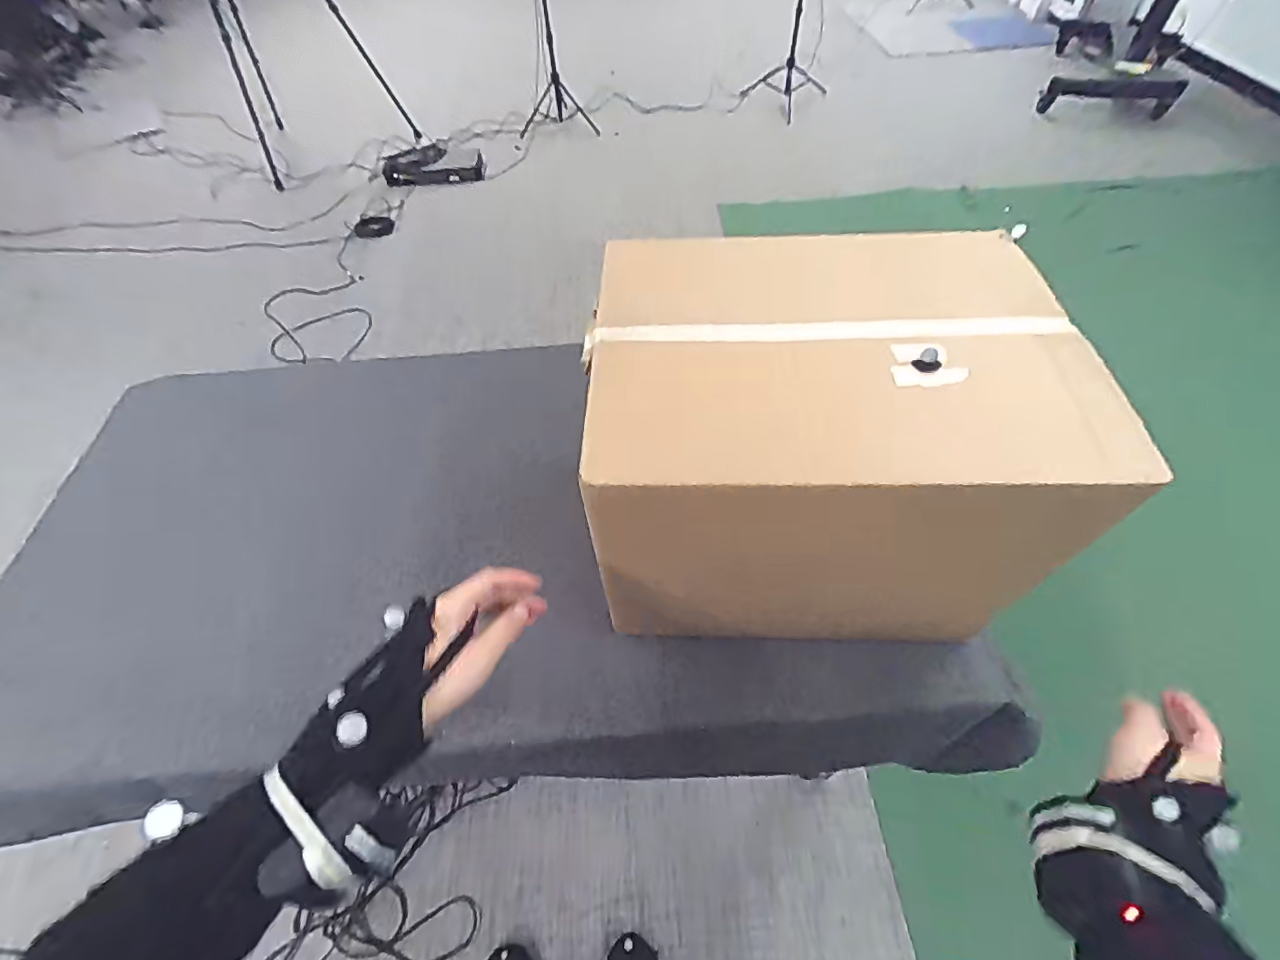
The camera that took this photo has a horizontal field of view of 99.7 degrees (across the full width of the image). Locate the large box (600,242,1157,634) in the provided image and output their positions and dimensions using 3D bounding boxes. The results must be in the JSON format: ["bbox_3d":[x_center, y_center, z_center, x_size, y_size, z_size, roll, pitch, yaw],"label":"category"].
[{"bbox_3d":[0.172,-0.033,0.590,0.408,0.320,0.320,1,55,2],"label":"large box"}]
